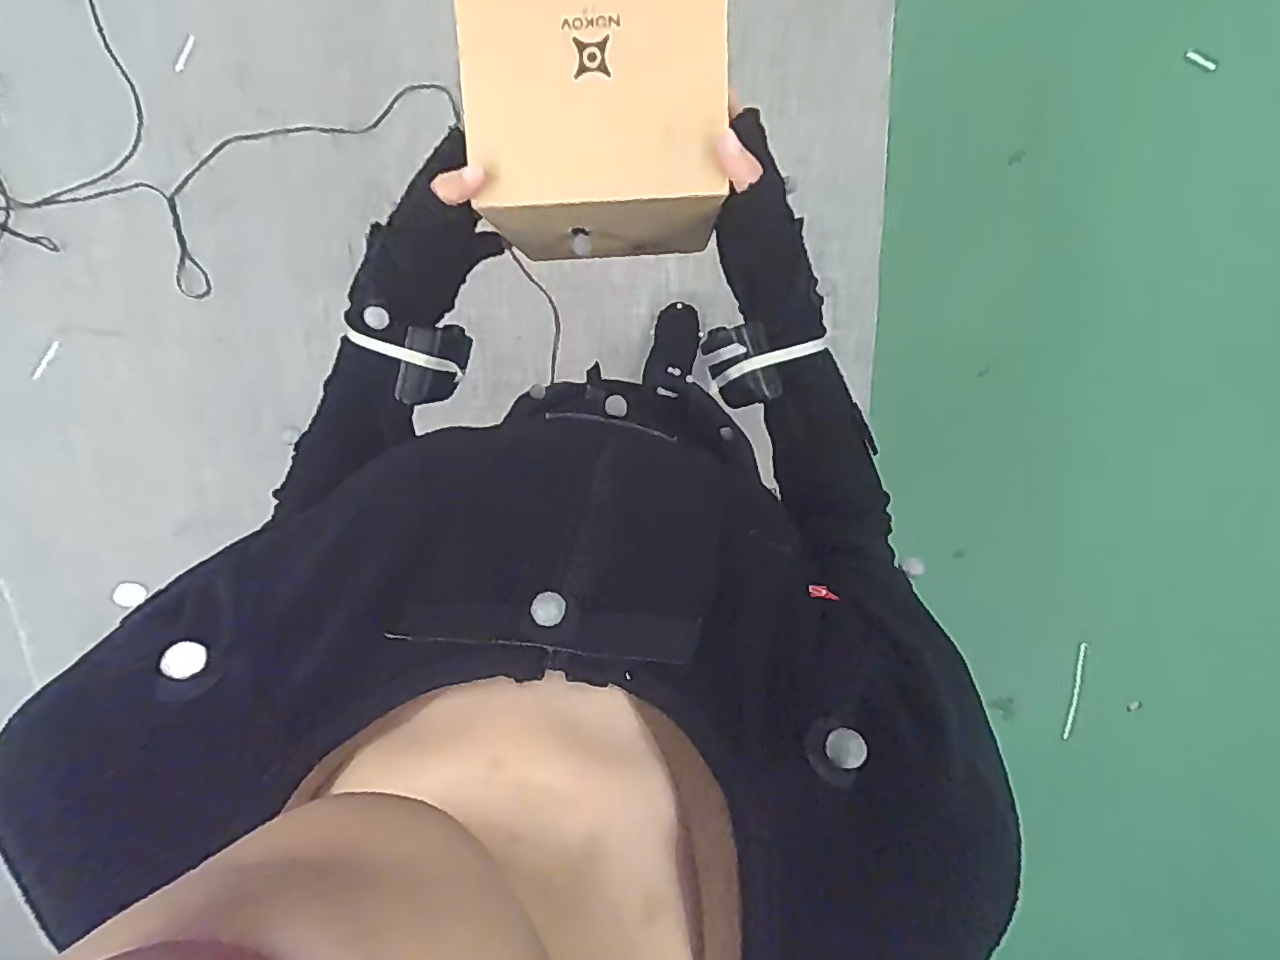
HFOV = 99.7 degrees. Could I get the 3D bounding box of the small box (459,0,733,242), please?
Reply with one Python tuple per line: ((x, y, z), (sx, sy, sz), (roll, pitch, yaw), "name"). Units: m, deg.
((-0.023, -0.286, 0.400), (0.168, 0.176, 0.179), (-2, 99, 2), "small box")
